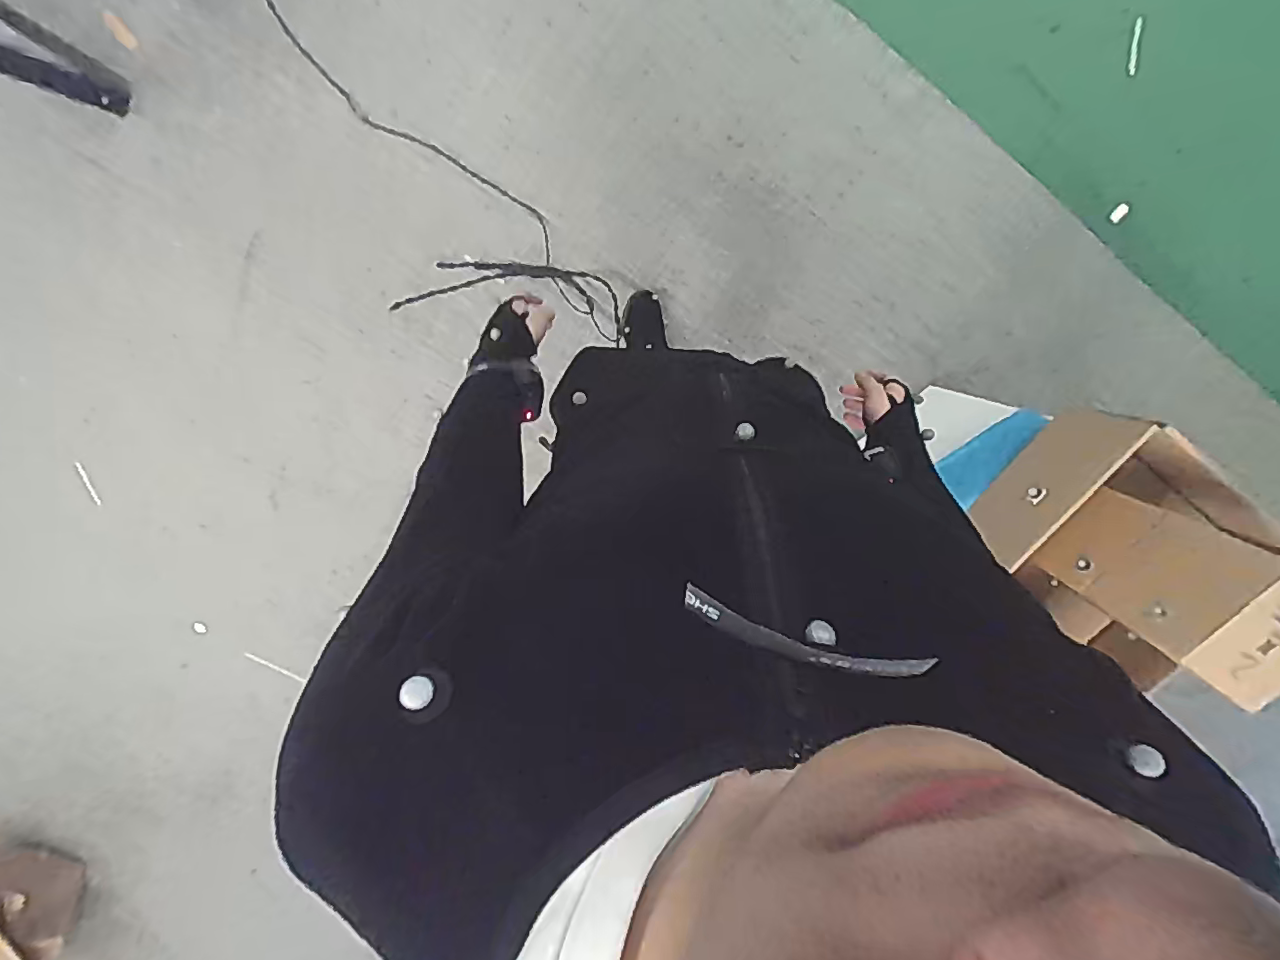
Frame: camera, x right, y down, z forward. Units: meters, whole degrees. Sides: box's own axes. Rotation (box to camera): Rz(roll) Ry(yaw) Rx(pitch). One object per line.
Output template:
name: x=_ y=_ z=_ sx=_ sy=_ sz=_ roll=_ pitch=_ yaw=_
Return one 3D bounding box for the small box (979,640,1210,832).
small box: x=0.676 y=0.382 z=0.831 sx=0.168 sy=0.176 sz=0.179 roll=29 pitch=106 yaw=-10

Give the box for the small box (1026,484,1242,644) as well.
small box: x=0.824 y=0.134 z=0.925 sx=0.168 sy=0.176 sz=0.179 roll=33 pitch=107 yaw=-11
